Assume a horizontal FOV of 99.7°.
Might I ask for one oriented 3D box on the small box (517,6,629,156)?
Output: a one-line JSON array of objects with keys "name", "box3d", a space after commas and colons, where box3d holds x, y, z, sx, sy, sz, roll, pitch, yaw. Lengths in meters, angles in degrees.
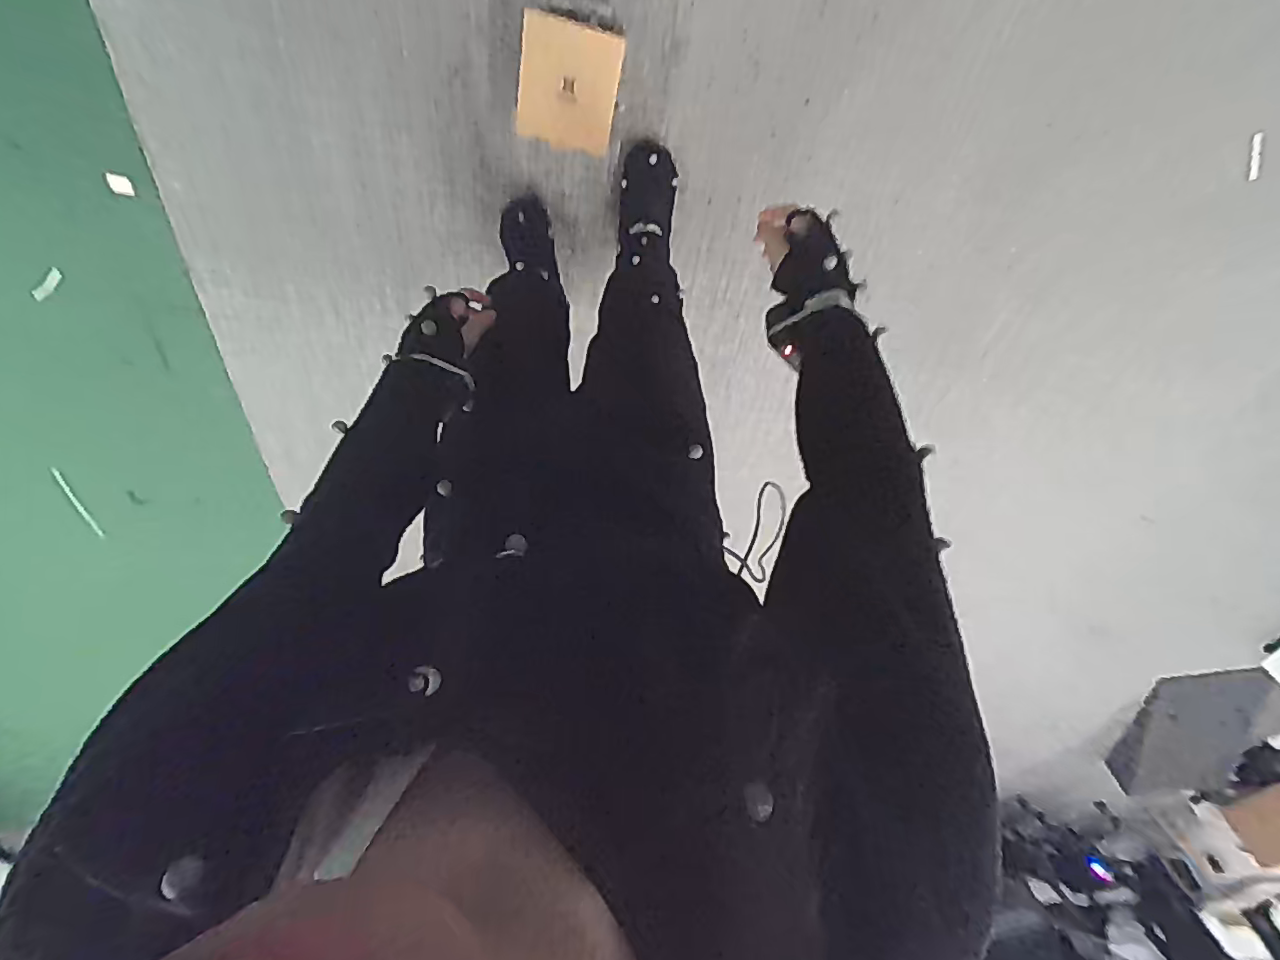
[{"name": "small box", "box3d": [-0.121, -0.721, 0.976, 0.168, 0.176, 0.179, 10, 131, -10]}]
